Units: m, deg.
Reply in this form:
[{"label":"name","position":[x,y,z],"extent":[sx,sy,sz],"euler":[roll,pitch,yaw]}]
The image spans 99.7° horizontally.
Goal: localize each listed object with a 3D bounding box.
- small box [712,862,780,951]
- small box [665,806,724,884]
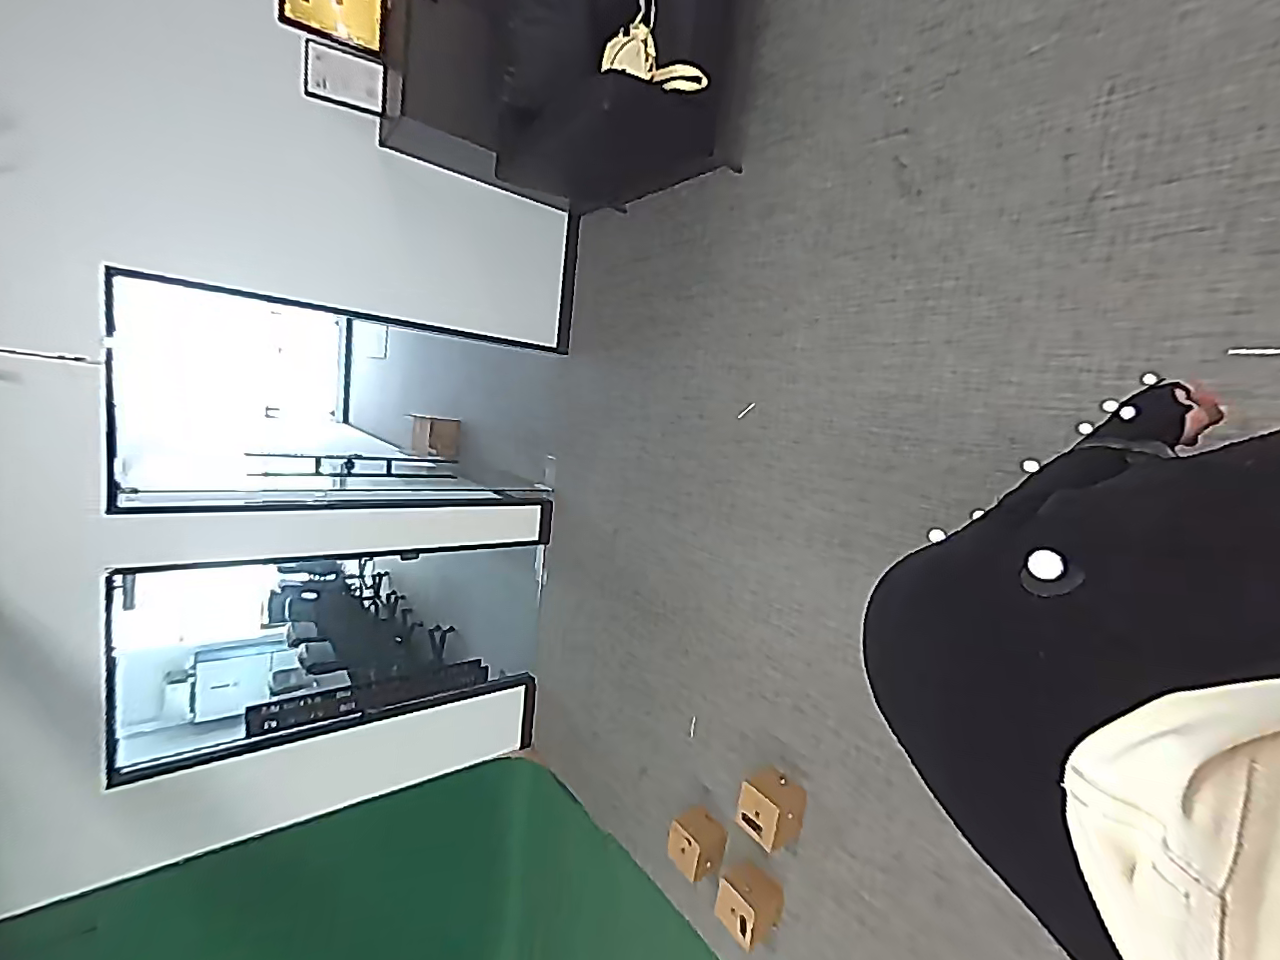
[{"label":"small box","position":[0.400,1.591,2.032],"extent":[0.179,0.176,0.168],"euler":[18,103,51]},{"label":"small box","position":[0.229,1.514,2.253],"extent":[0.168,0.176,0.179],"euler":[21,106,50]}]
